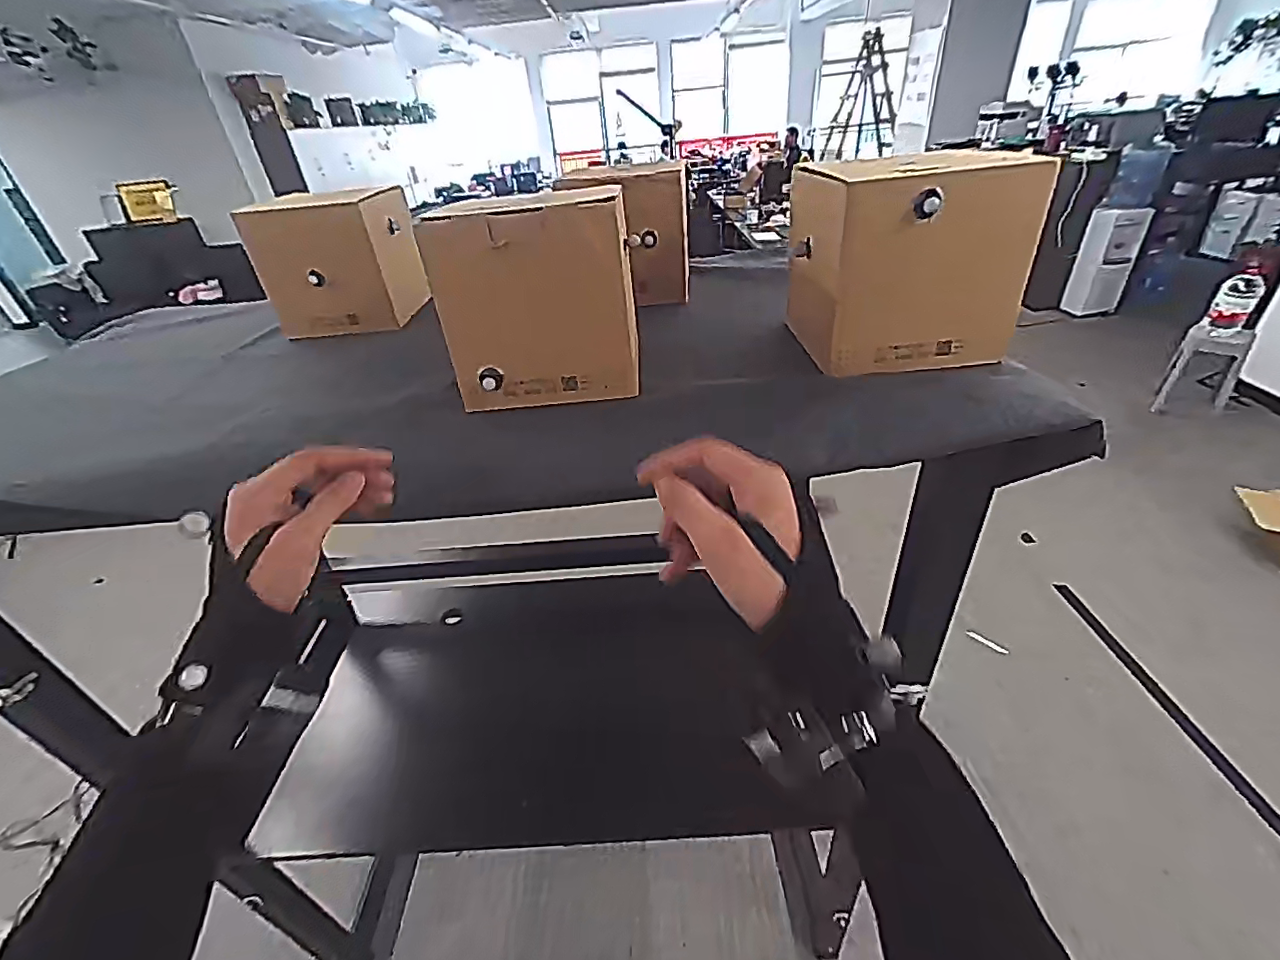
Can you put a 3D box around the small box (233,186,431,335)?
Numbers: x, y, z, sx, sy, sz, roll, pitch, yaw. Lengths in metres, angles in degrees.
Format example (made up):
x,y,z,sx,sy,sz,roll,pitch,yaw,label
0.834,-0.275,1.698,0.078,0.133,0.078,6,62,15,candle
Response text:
x,y,z,sx,sy,sz,roll,pitch,yaw,label
-0.425,-0.316,0.787,0.168,0.176,0.179,-4,34,1,small box

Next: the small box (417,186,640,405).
x,y,z,sx,sy,sz,roll,pitch,yaw,label
-0.088,-0.180,0.533,0.168,0.176,0.179,-4,31,2,small box

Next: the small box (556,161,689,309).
x,y,z,sx,sy,sz,roll,pitch,yaw,label
-0.013,-0.352,0.784,0.168,0.176,0.179,-1,34,6,small box

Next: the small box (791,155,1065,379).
x,y,z,sx,sy,sz,roll,pitch,yaw,label
0.251,-0.211,0.528,0.168,0.176,0.179,-5,33,2,small box
